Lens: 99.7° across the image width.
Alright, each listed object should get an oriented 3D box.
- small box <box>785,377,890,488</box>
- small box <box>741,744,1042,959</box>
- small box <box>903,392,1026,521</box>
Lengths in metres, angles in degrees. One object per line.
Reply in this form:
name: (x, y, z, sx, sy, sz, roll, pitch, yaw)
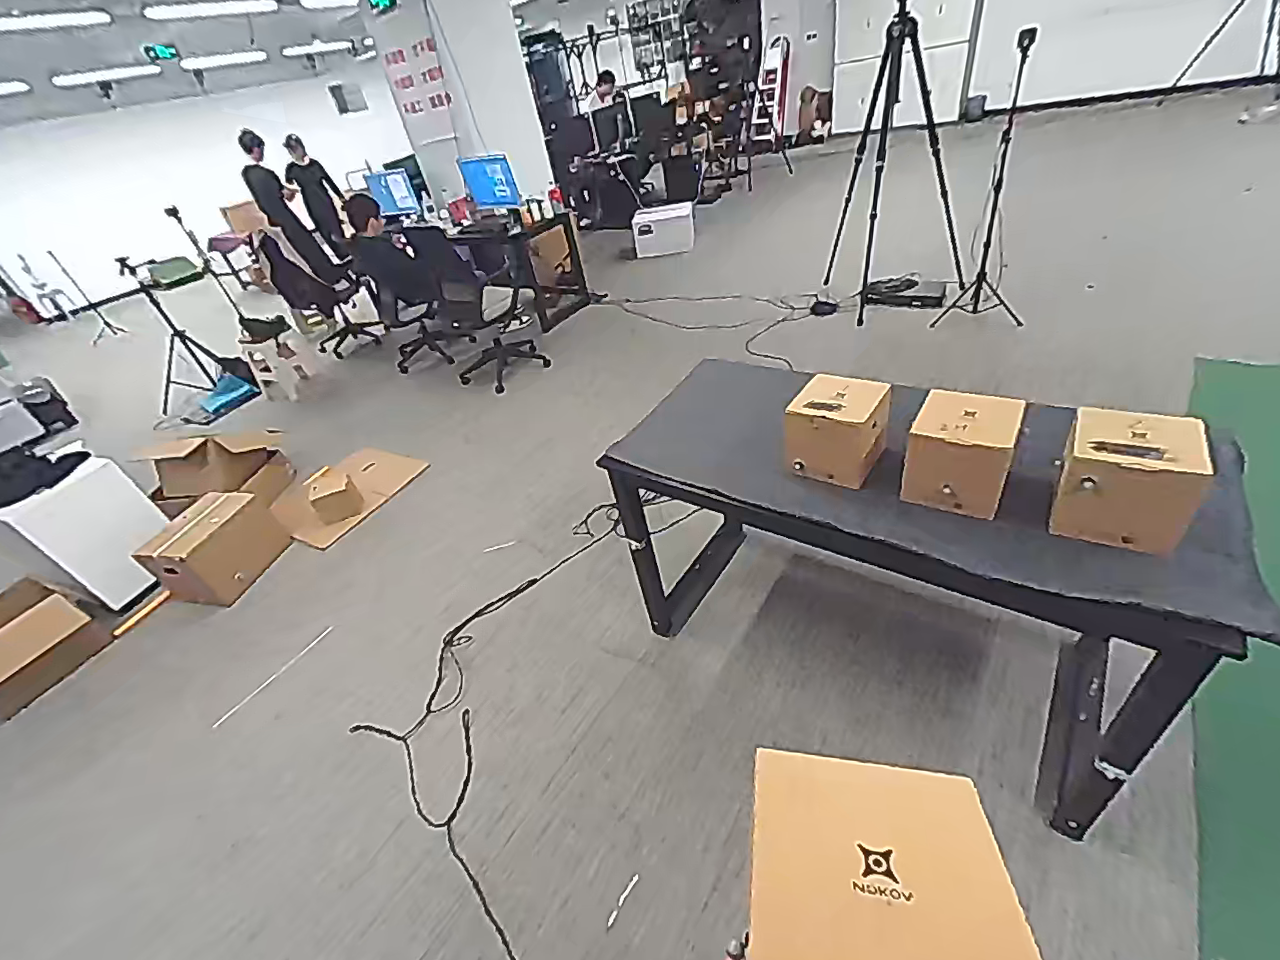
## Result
small box: (0.437, -0.105, 1.197, 0.168, 0.176, 0.179, 18, 45, 34)
small box: (0.159, 0.332, 0.386, 0.168, 0.176, 0.179, 3, 22, 12)
small box: (0.631, -0.050, 1.062, 0.168, 0.176, 0.179, 15, 45, 34)
